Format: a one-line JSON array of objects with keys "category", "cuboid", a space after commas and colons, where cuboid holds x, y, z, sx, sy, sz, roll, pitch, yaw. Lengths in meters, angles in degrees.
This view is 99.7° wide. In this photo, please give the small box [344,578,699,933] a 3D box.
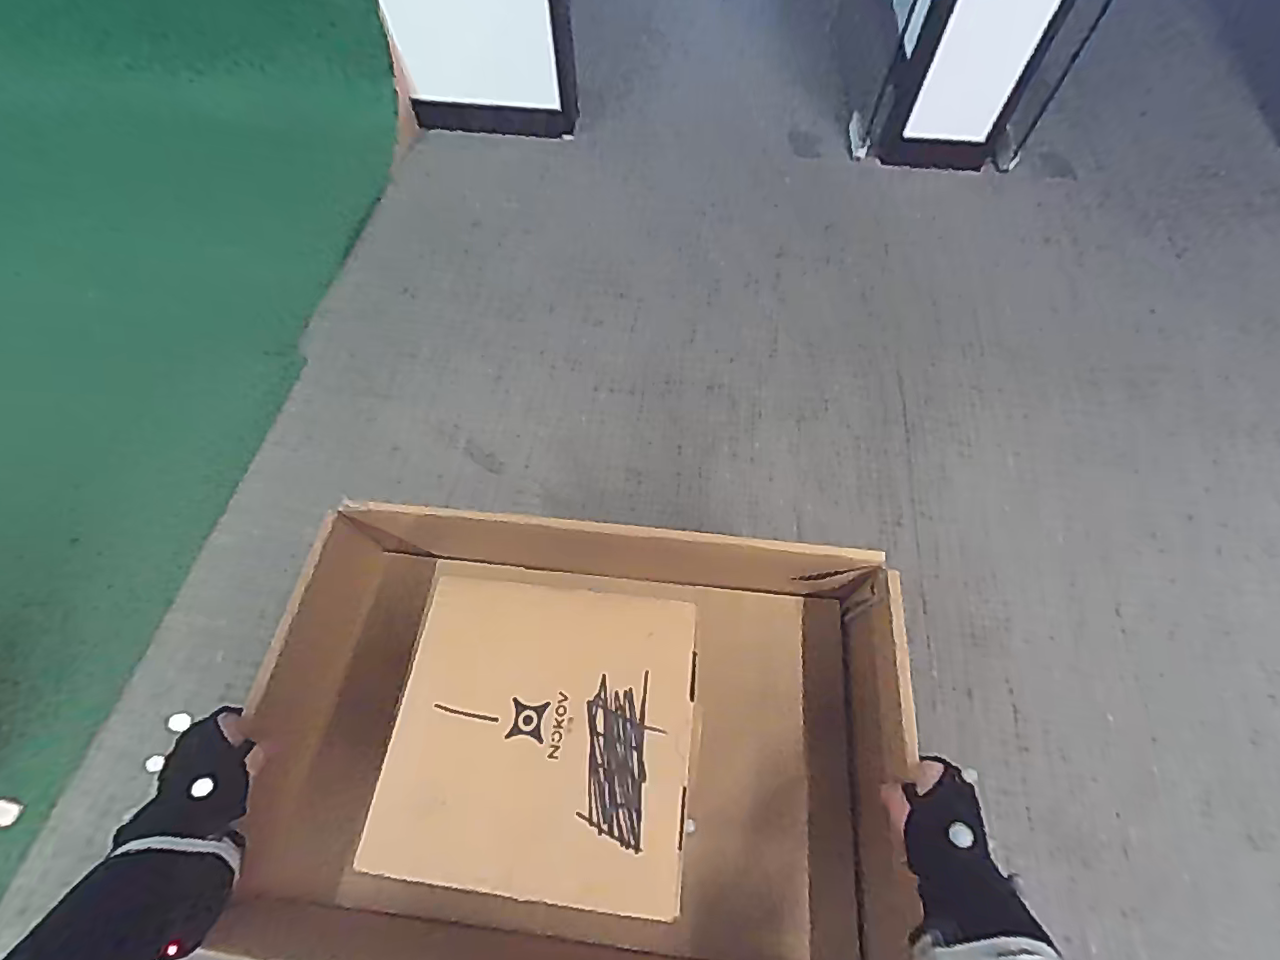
[{"category": "small box", "cuboid": [-0.056, 0.180, 0.379, 0.179, 0.176, 0.168, 5, 62, 6]}]
